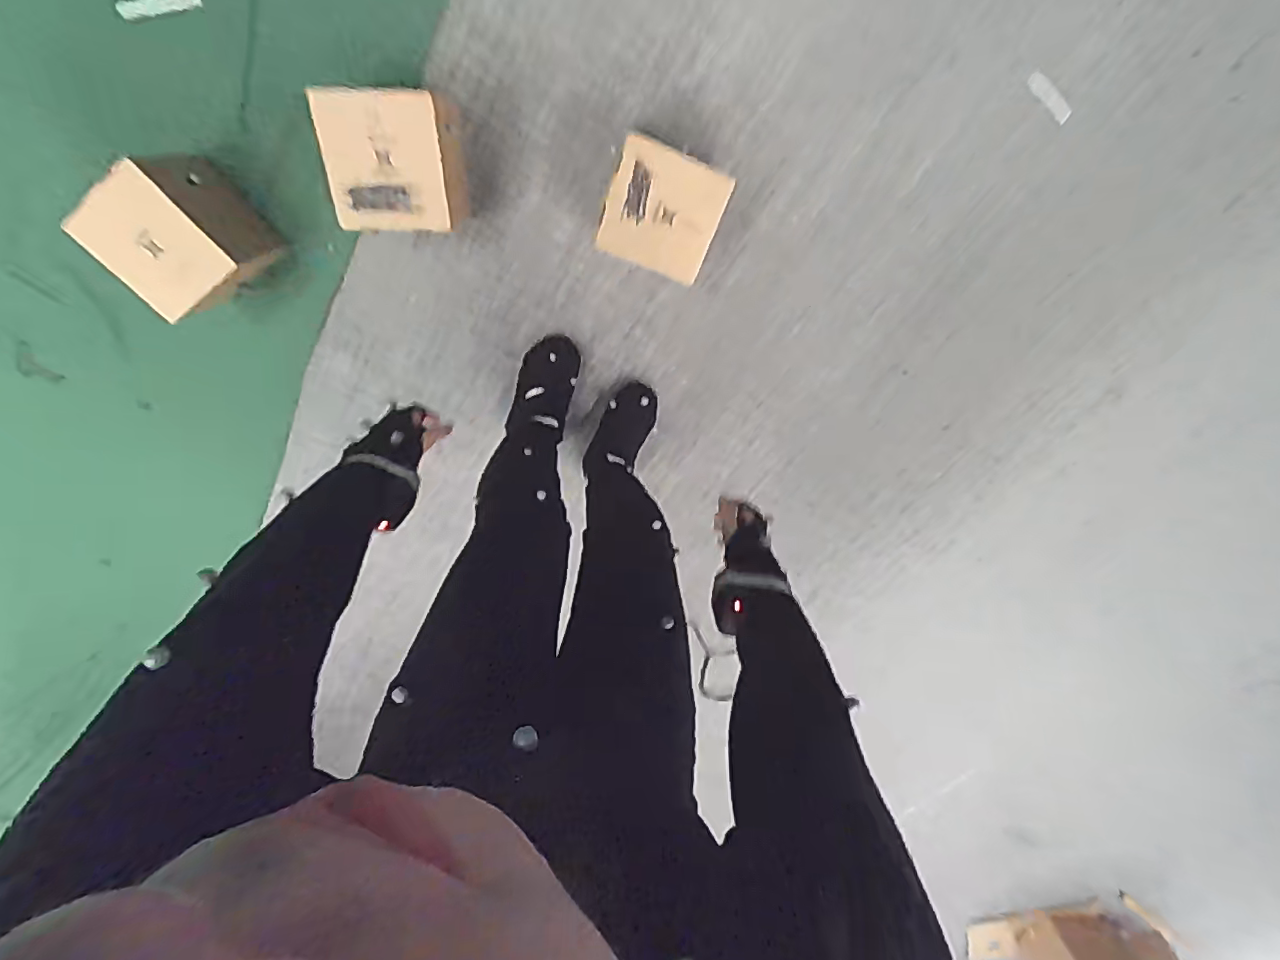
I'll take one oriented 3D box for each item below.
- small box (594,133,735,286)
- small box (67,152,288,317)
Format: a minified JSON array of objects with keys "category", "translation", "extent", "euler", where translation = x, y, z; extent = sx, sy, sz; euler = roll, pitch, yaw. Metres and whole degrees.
[{"category":"small box","translation":[0.031,-0.450,0.903],"extent":[0.179,0.176,0.168],"euler":[17,119,-14]},{"category":"small box","translation":[-0.734,-0.401,0.883],"extent":[0.168,0.176,0.179],"euler":[-29,119,14]}]
